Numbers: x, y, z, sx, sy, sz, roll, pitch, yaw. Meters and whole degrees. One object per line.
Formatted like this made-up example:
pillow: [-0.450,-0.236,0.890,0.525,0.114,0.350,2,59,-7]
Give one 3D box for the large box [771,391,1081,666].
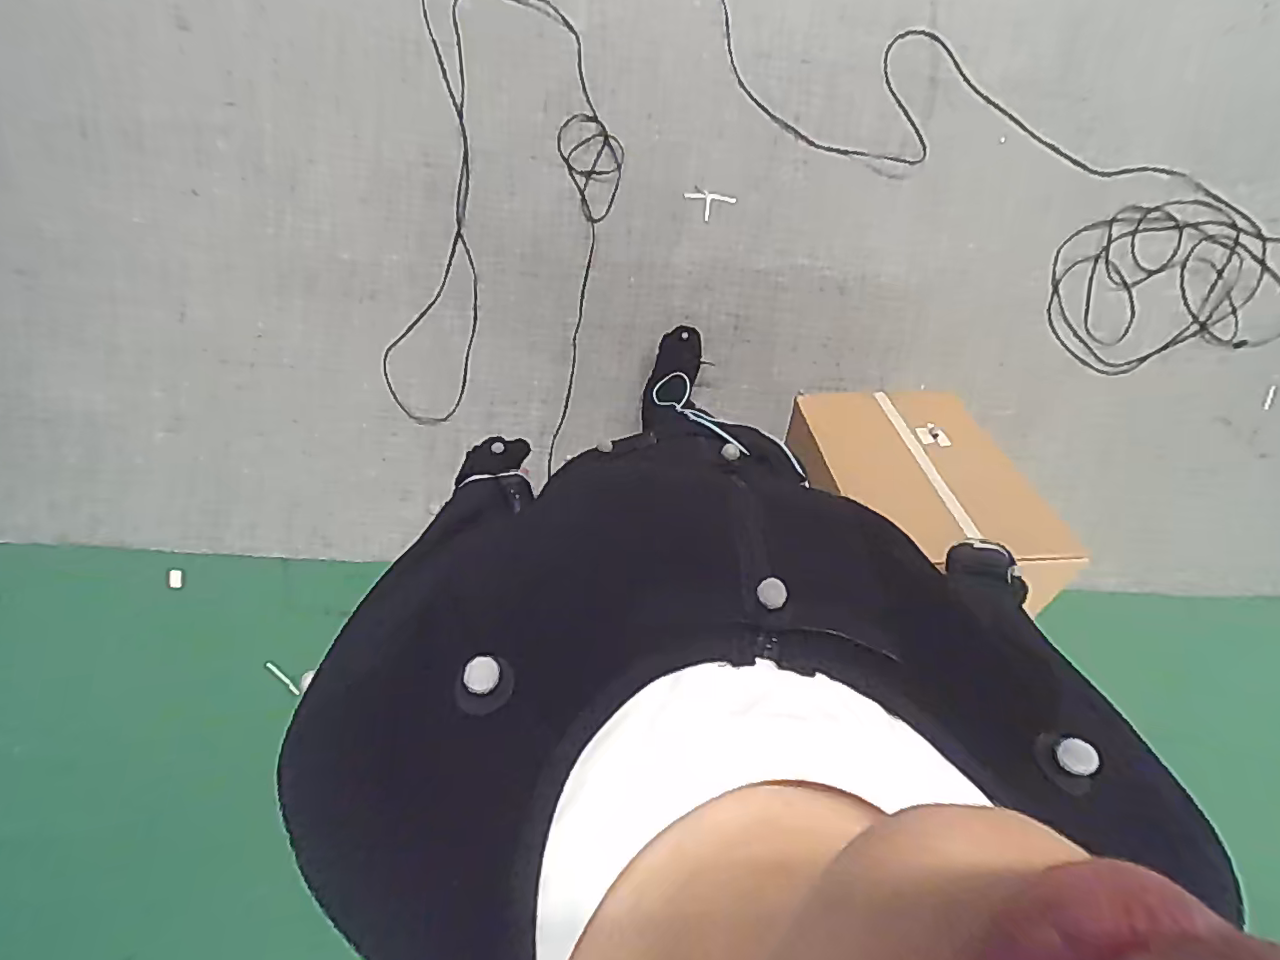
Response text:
large box: [0.460,0.079,0.998,0.320,0.408,0.320,-1,133,-4]
